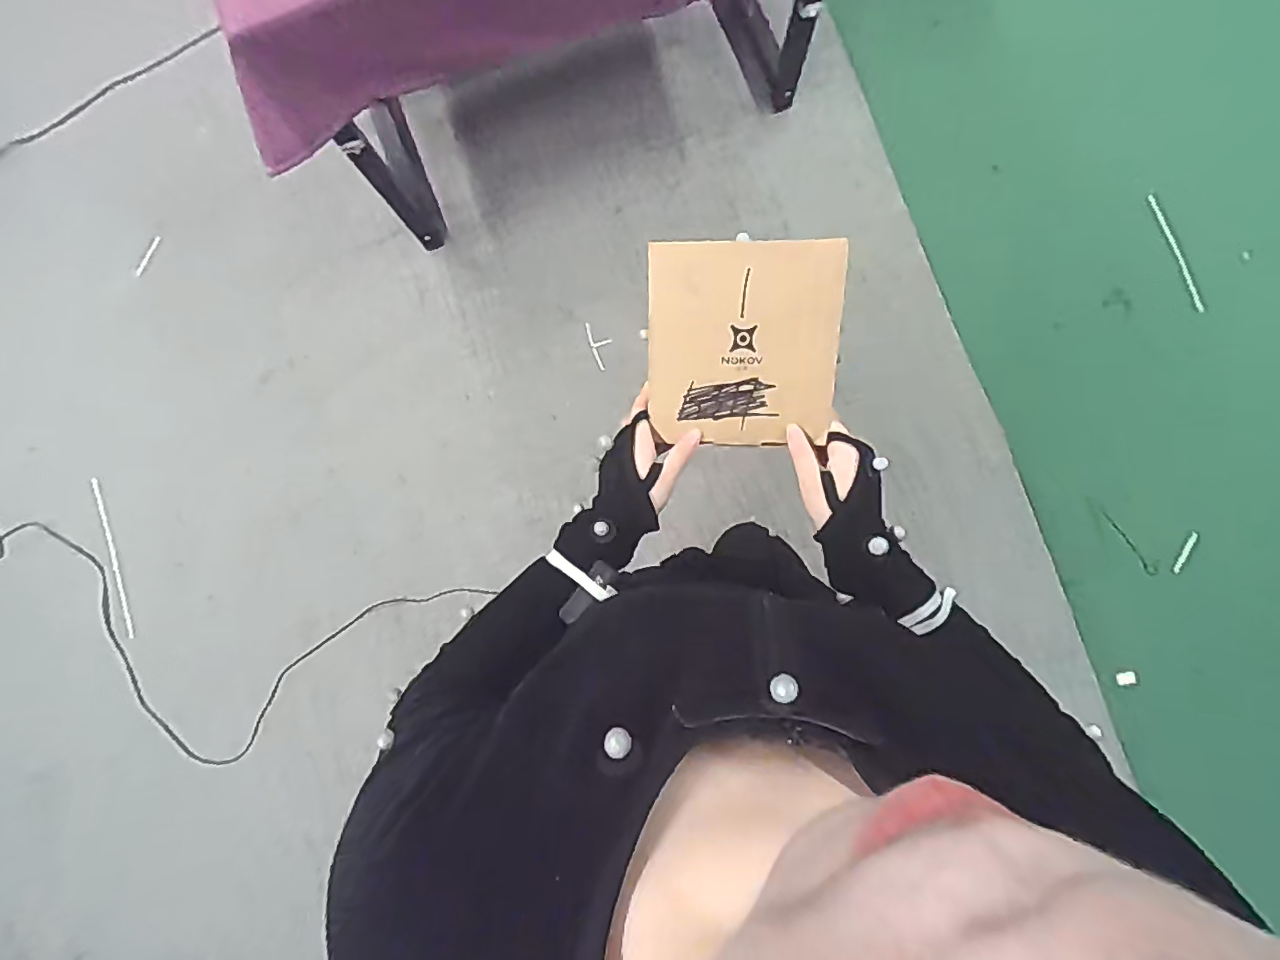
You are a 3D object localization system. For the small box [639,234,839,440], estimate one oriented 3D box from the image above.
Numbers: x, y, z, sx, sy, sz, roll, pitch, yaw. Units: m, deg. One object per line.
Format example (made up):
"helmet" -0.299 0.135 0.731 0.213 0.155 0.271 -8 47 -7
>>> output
"small box" 0.089 -0.147 0.550 0.168 0.176 0.179 1 108 4
